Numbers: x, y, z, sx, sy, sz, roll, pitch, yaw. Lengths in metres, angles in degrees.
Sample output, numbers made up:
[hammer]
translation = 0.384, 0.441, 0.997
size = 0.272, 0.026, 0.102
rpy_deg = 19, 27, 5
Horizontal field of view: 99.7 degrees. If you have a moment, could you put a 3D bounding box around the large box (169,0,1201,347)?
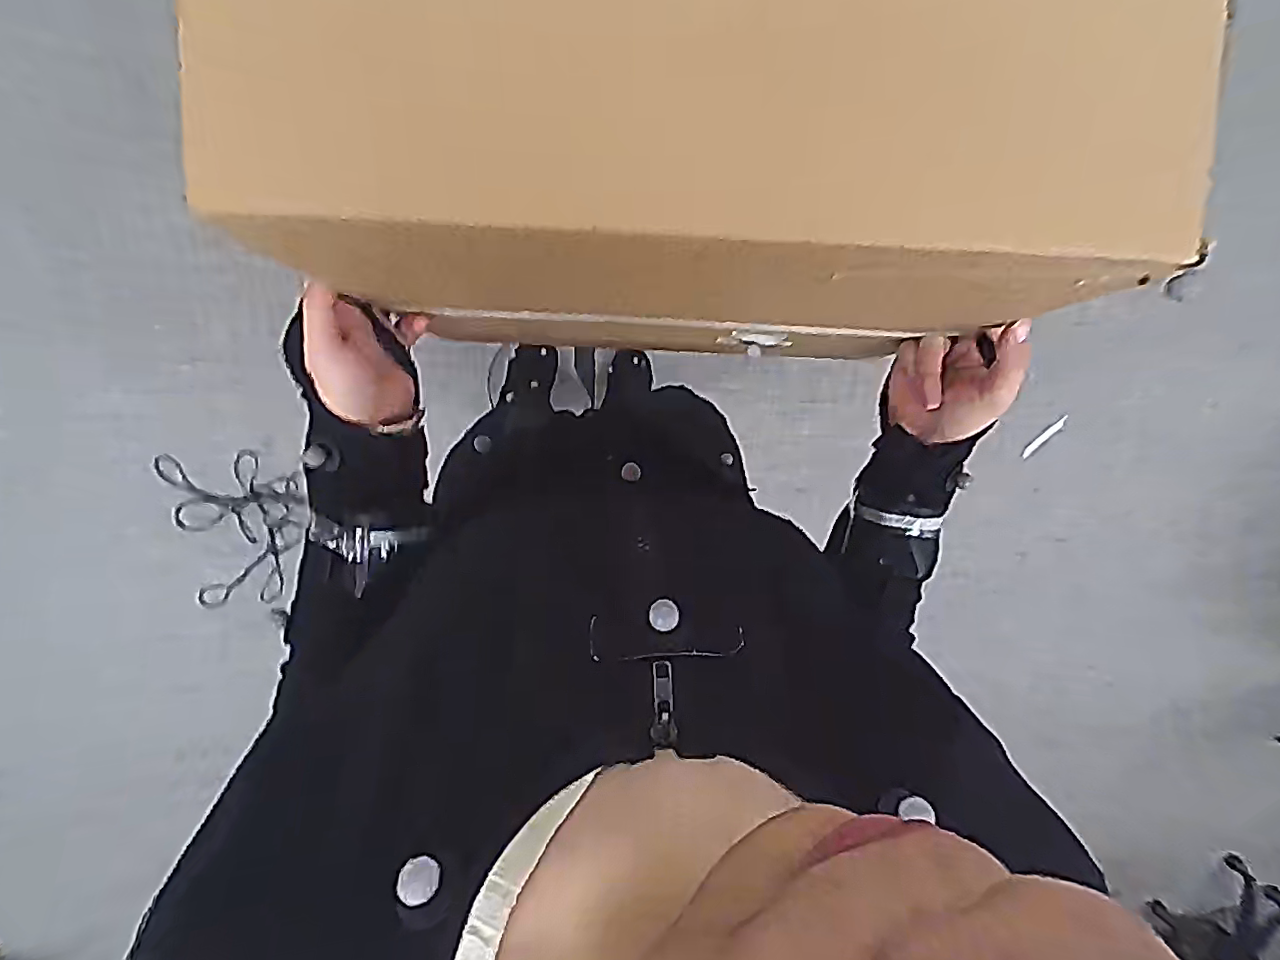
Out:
[large box]
translation = 0.017, -0.267, 0.348
size = 0.408, 0.320, 0.320
rpy_deg = 1, 96, -1
